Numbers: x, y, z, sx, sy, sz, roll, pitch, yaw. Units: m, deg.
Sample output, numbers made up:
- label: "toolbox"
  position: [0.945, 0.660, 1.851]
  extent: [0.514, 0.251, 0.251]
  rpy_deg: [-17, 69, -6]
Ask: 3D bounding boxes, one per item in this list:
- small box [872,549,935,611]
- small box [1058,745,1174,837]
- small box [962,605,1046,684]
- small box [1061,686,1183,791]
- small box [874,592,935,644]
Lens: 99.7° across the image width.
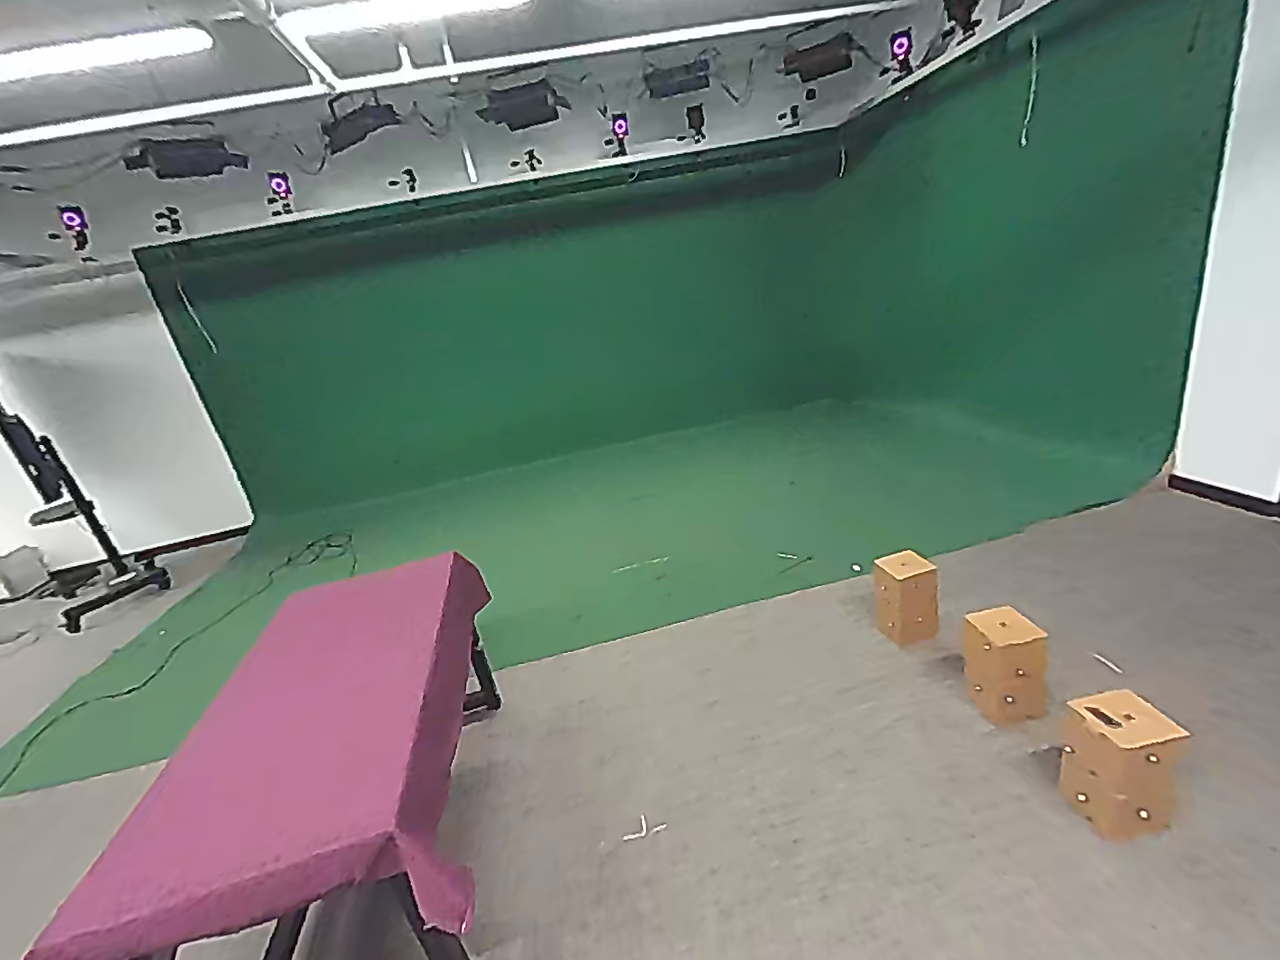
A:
- label: "small box"
  position: [1.075, 0.409, 2.206]
  extent: [0.179, 0.176, 0.168]
  rpy_deg: [-14, 22, -8]
- label: "small box"
  position: [1.279, 0.826, 1.466]
  extent: [0.179, 0.176, 0.168]
  rpy_deg: [-13, 21, -3]
- label: "small box"
  position: [1.195, 0.543, 1.790]
  extent: [0.168, 0.176, 0.179]
  rpy_deg: [-12, 20, -2]
- label: "small box"
  position: [1.244, 0.675, 1.410]
  extent: [0.179, 0.176, 0.168]
  rpy_deg: [-11, 20, -2]
- label: "small box"
  position: [1.108, 0.560, 2.262]
  extent: [0.179, 0.176, 0.168]
  rpy_deg: [-13, 21, -7]
